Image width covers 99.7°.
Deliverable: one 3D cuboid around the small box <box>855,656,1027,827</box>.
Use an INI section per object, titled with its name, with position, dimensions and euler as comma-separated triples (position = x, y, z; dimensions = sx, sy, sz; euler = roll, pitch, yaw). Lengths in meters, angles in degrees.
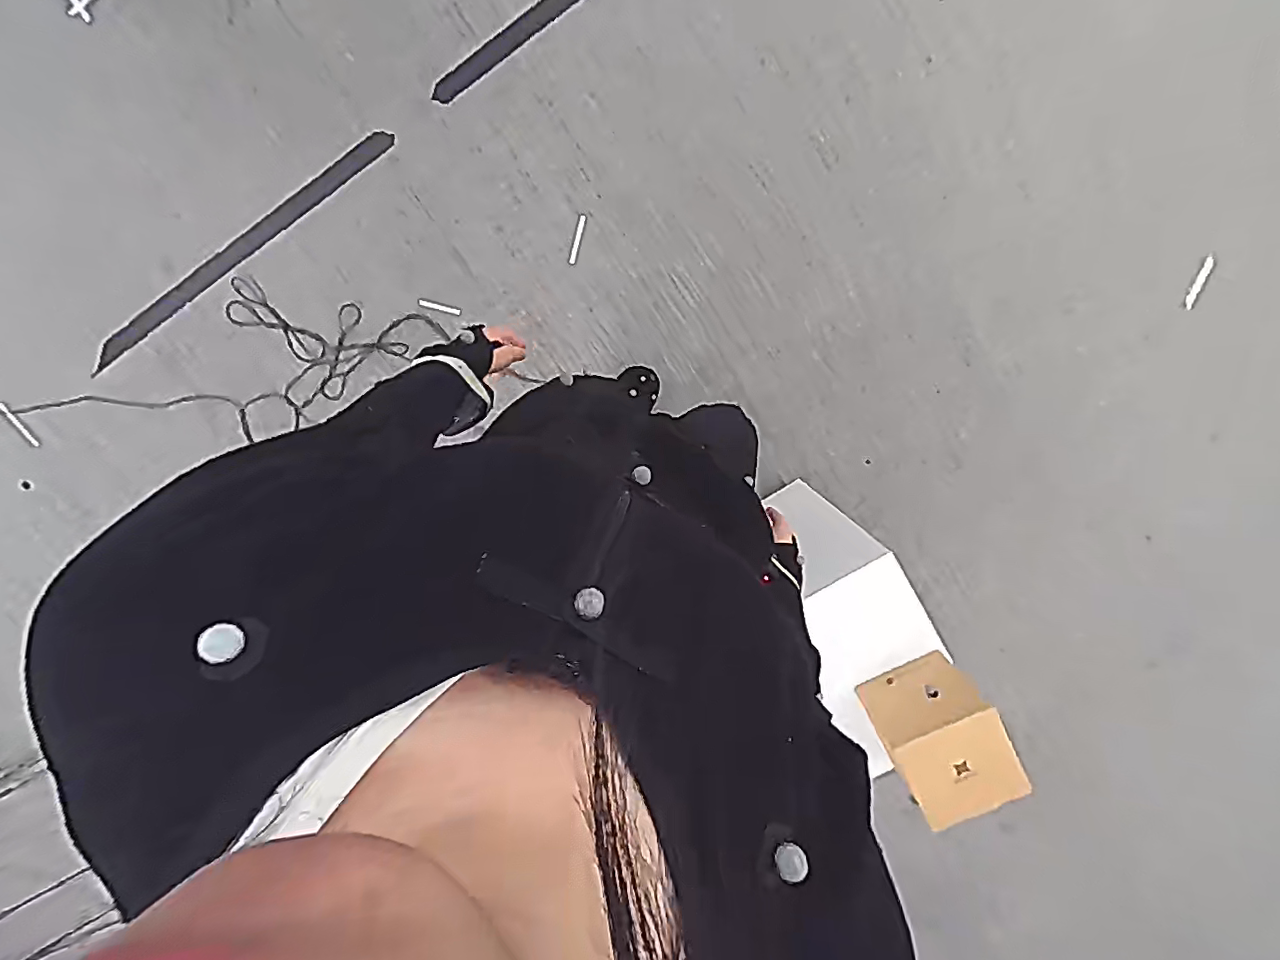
[small box]
position = 0.494, 0.426, 0.914
dimensions = 0.168, 0.176, 0.179
euler = -28, 101, 7
